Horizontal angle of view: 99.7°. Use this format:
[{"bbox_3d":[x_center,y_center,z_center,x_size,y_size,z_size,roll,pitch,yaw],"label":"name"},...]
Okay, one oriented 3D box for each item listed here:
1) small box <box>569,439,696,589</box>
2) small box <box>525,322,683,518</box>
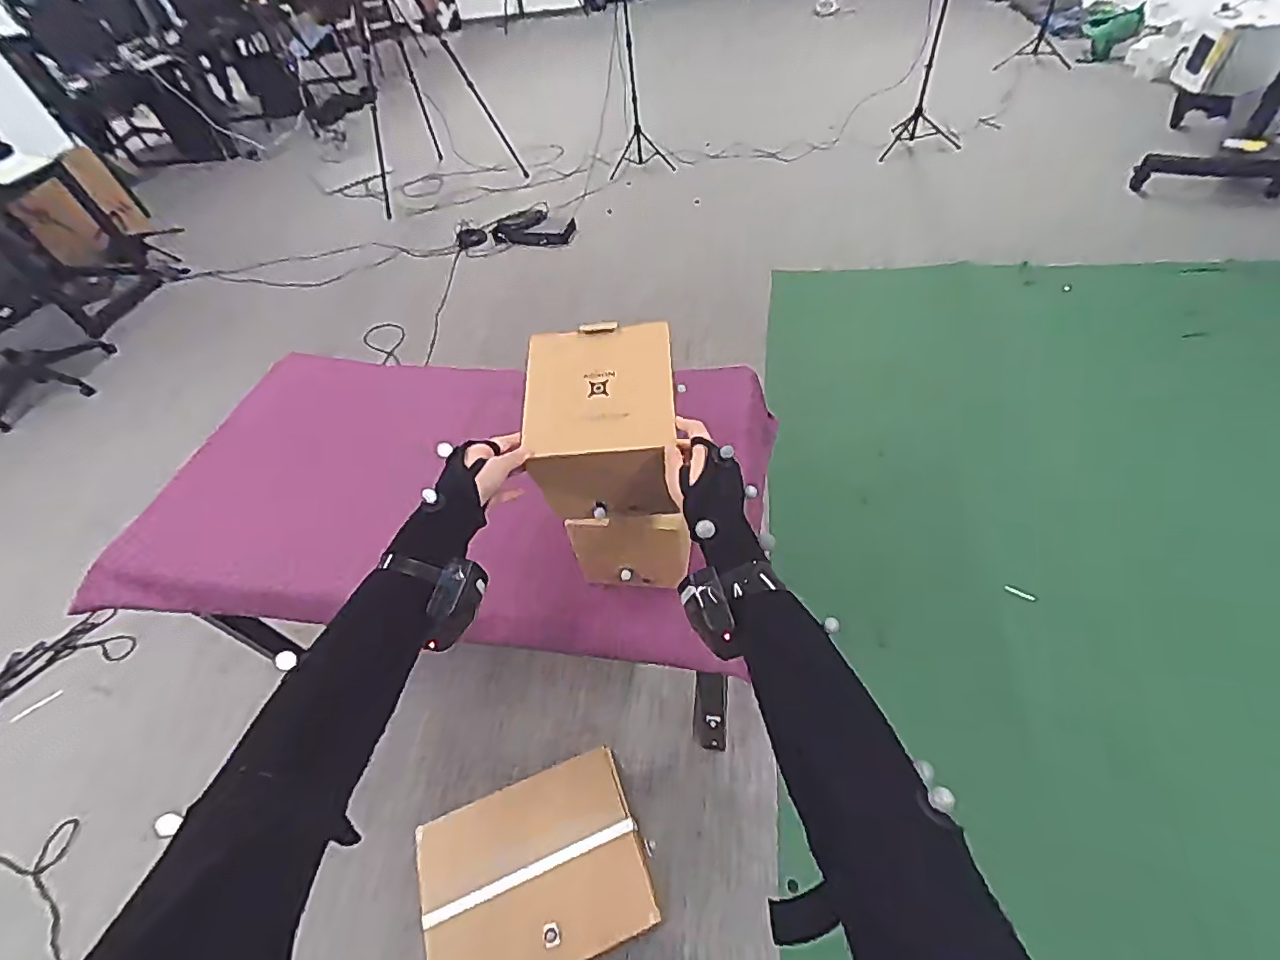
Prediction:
[{"bbox_3d":[0.000,0.051,0.863,0.168,0.176,0.179,2,50,12],"label":"small box"},{"bbox_3d":[-0.033,-0.068,0.671,0.168,0.176,0.179,-4,61,4],"label":"small box"}]
